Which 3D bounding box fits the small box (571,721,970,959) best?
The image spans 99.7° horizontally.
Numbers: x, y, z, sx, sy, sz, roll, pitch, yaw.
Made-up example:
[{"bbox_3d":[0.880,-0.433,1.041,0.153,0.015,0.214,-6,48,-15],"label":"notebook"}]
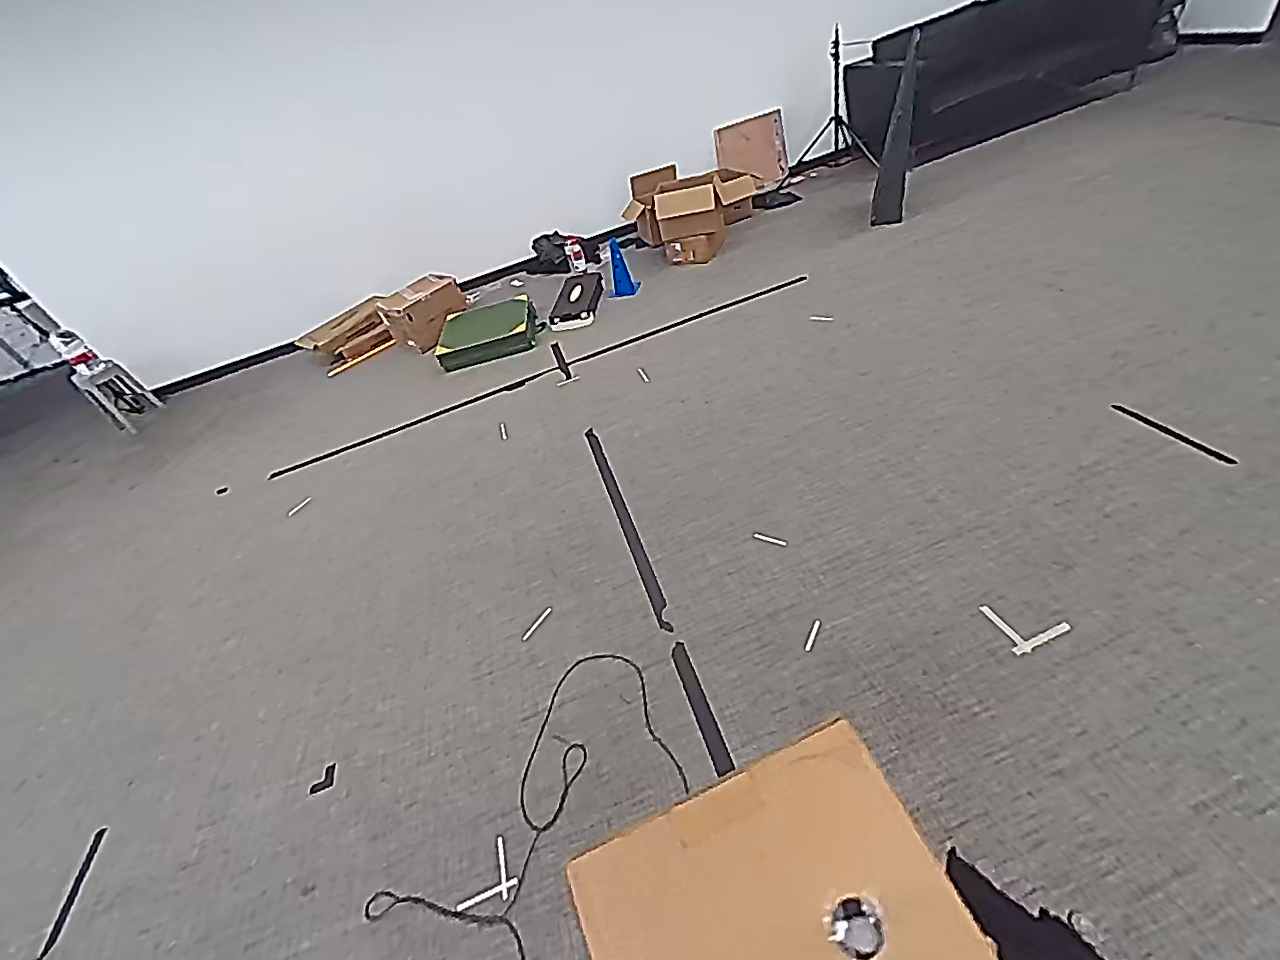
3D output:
[{"bbox_3d":[0.083,0.271,0.325,0.168,0.179,0.176,-27,60,-3],"label":"small box"}]
